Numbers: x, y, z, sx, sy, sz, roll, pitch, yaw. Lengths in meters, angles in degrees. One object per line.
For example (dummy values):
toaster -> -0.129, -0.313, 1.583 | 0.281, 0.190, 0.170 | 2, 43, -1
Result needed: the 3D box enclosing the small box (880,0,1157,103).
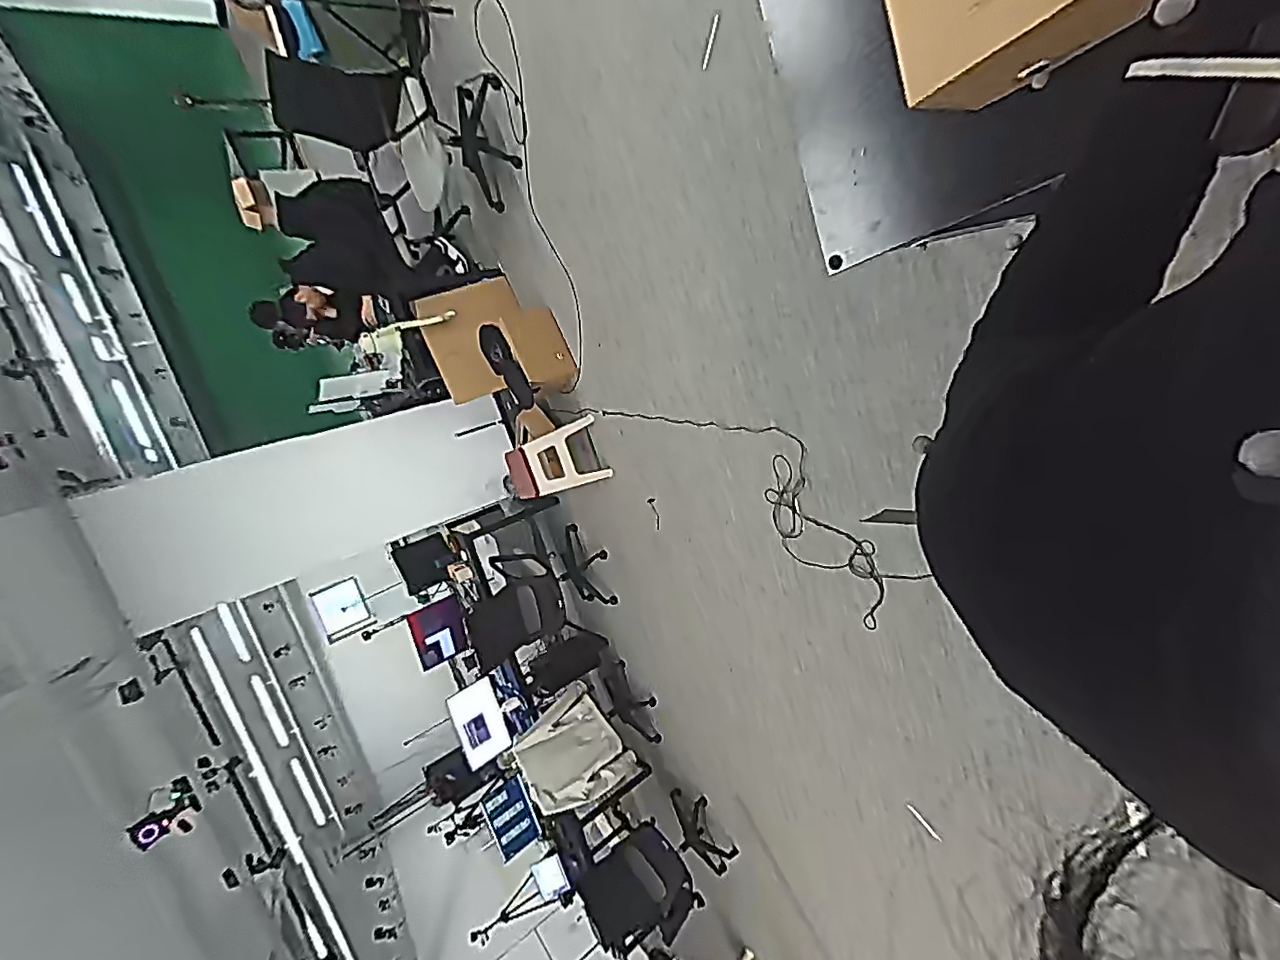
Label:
small box -> 0.348, -0.488, 0.506 | 0.168, 0.176, 0.179 | -4, 108, 59
